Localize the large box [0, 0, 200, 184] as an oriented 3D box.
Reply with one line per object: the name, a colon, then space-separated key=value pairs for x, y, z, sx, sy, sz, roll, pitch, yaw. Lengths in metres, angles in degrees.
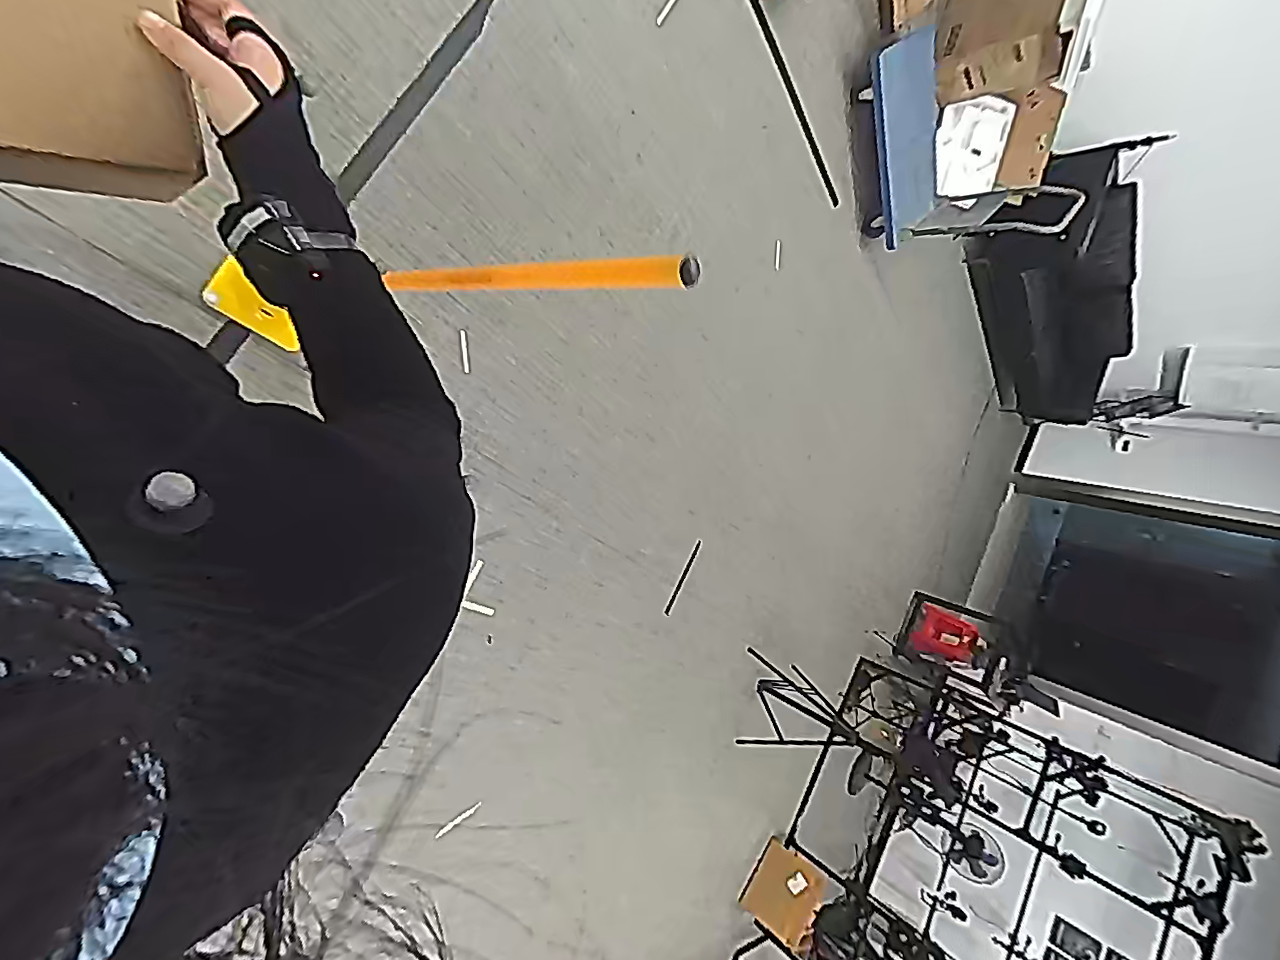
large box: x=-0.577 y=-0.399 z=0.345 sx=0.408 sy=0.320 sz=0.320 roll=-13 pitch=115 yaw=-41
